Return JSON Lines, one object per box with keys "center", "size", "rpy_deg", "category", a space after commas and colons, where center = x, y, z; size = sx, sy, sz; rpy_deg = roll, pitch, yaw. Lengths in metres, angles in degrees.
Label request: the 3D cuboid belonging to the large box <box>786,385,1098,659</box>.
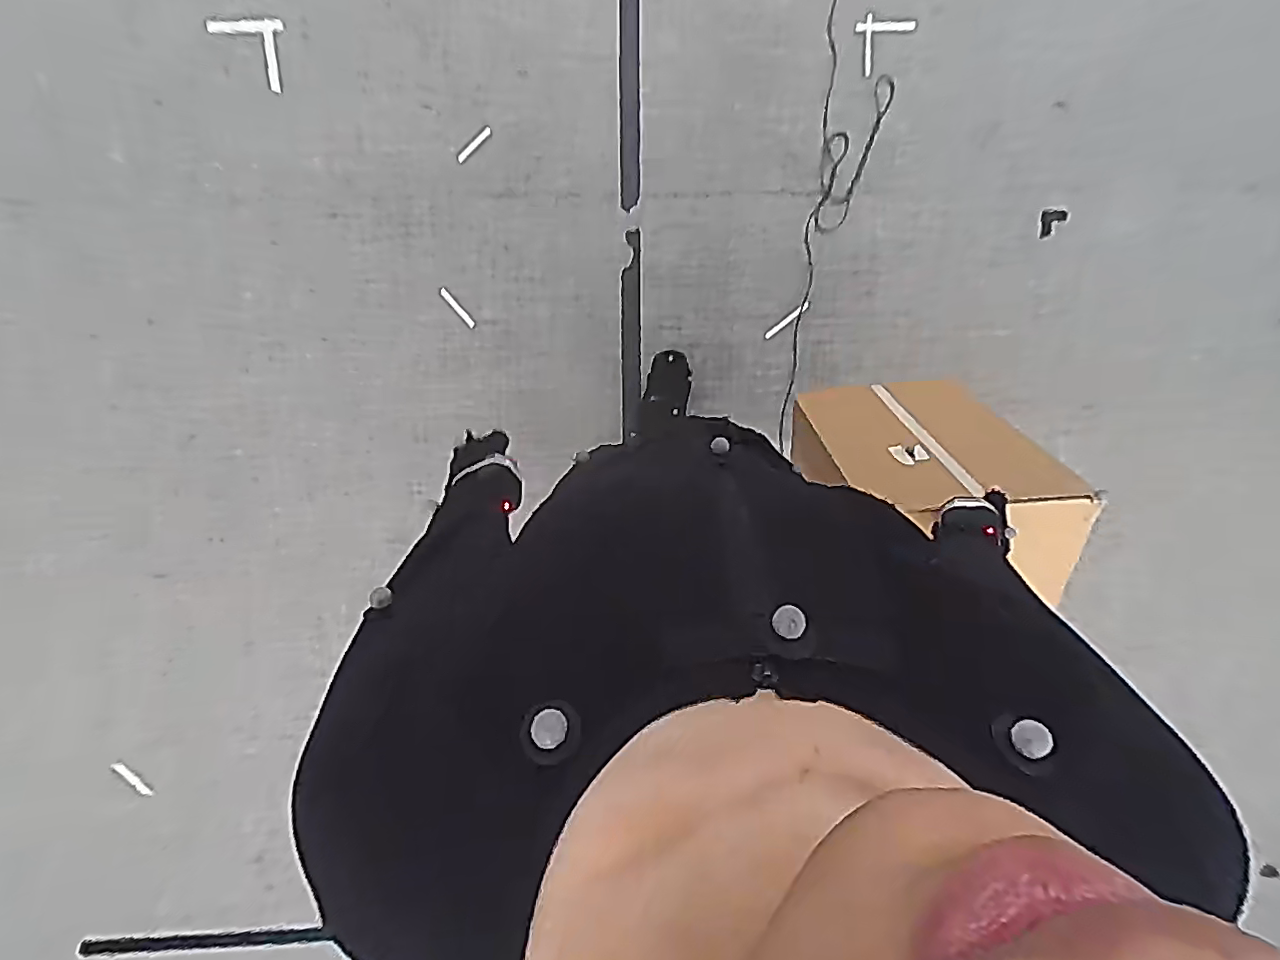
{"center": [0.477, 0.057, 0.984], "size": [0.320, 0.408, 0.320], "rpy_deg": [-6, 123, 2], "category": "large box"}
